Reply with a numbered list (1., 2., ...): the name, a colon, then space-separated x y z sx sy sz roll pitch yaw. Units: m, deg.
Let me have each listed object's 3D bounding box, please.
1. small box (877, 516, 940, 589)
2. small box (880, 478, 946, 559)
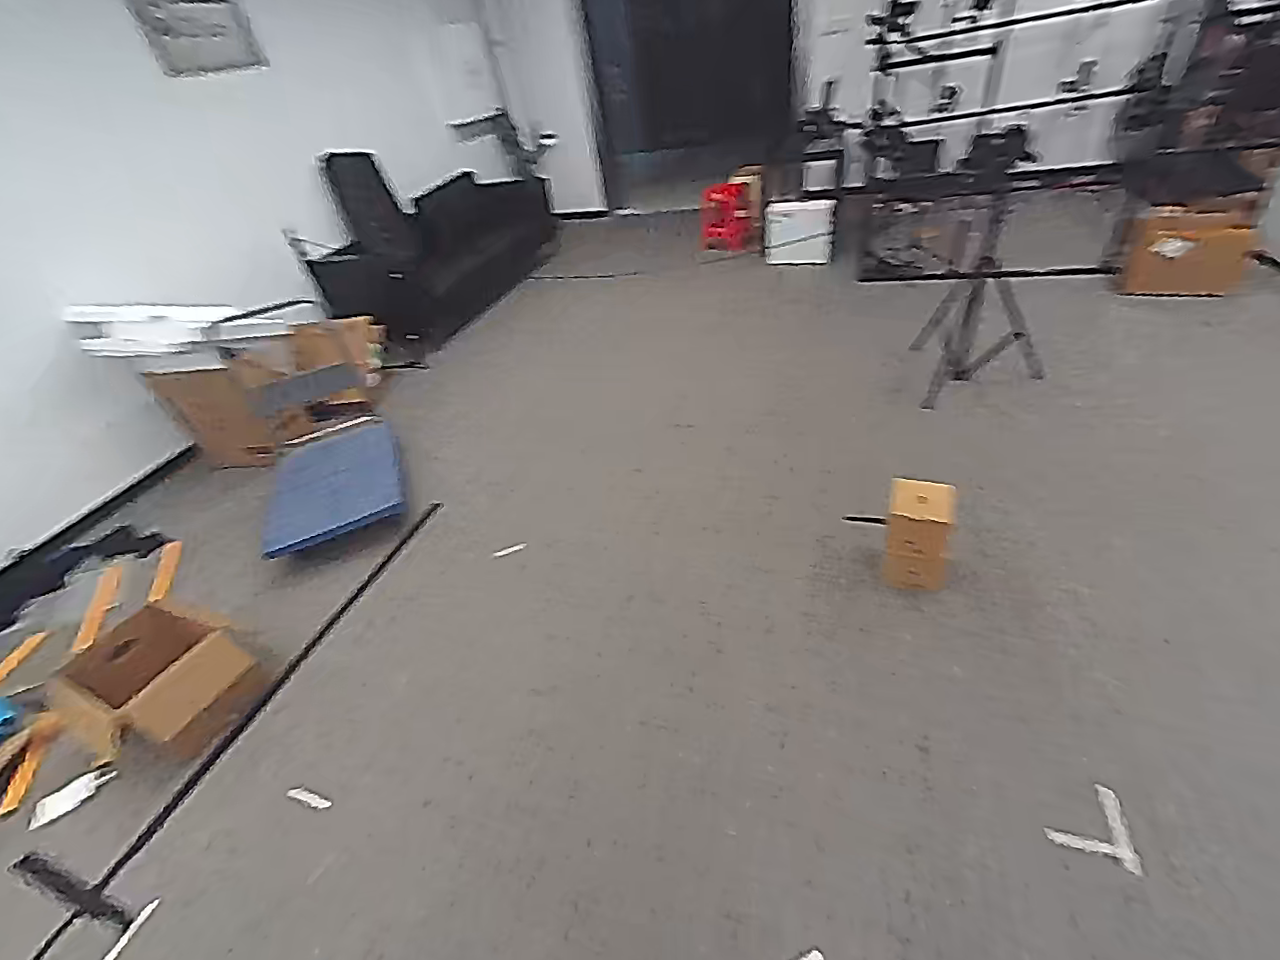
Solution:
1. small box: 0.895 0.244 1.813 0.168 0.176 0.179 4 40 18
2. small box: 0.862 0.121 1.711 0.168 0.176 0.179 8 43 23
